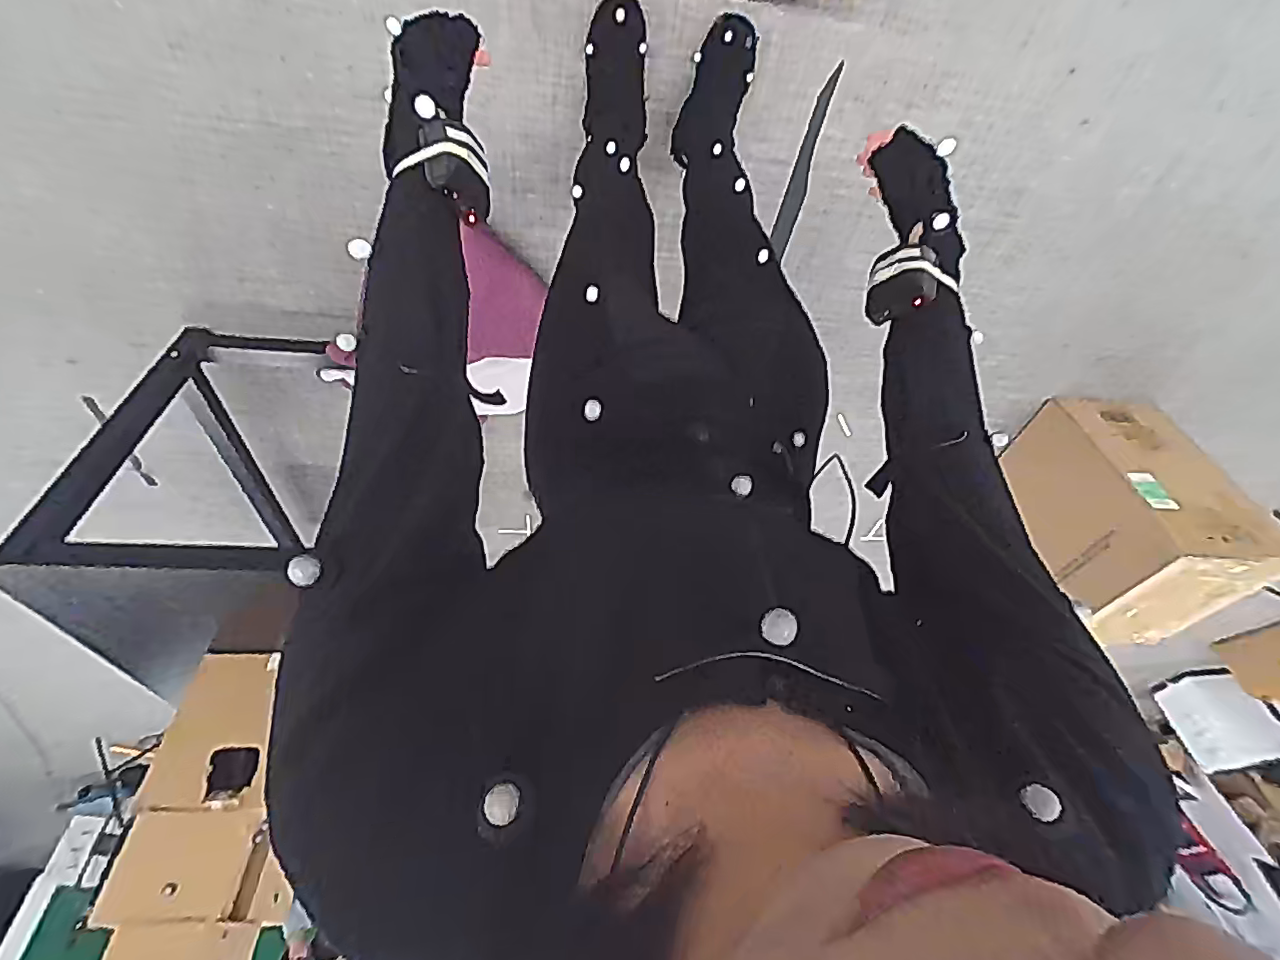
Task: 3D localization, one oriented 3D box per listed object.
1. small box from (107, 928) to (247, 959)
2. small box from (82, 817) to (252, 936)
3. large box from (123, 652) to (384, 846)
[{"bbox_3d":[-0.857,0.926,0.979,0.179,0.176,0.168,-7,139,1],"label":"small box"},{"bbox_3d":[-0.864,0.744,1.017,0.179,0.176,0.168,11,137,-15],"label":"small box"},{"bbox_3d":[-0.843,0.637,1.268,0.320,0.320,0.408,1,138,-8],"label":"large box"}]
